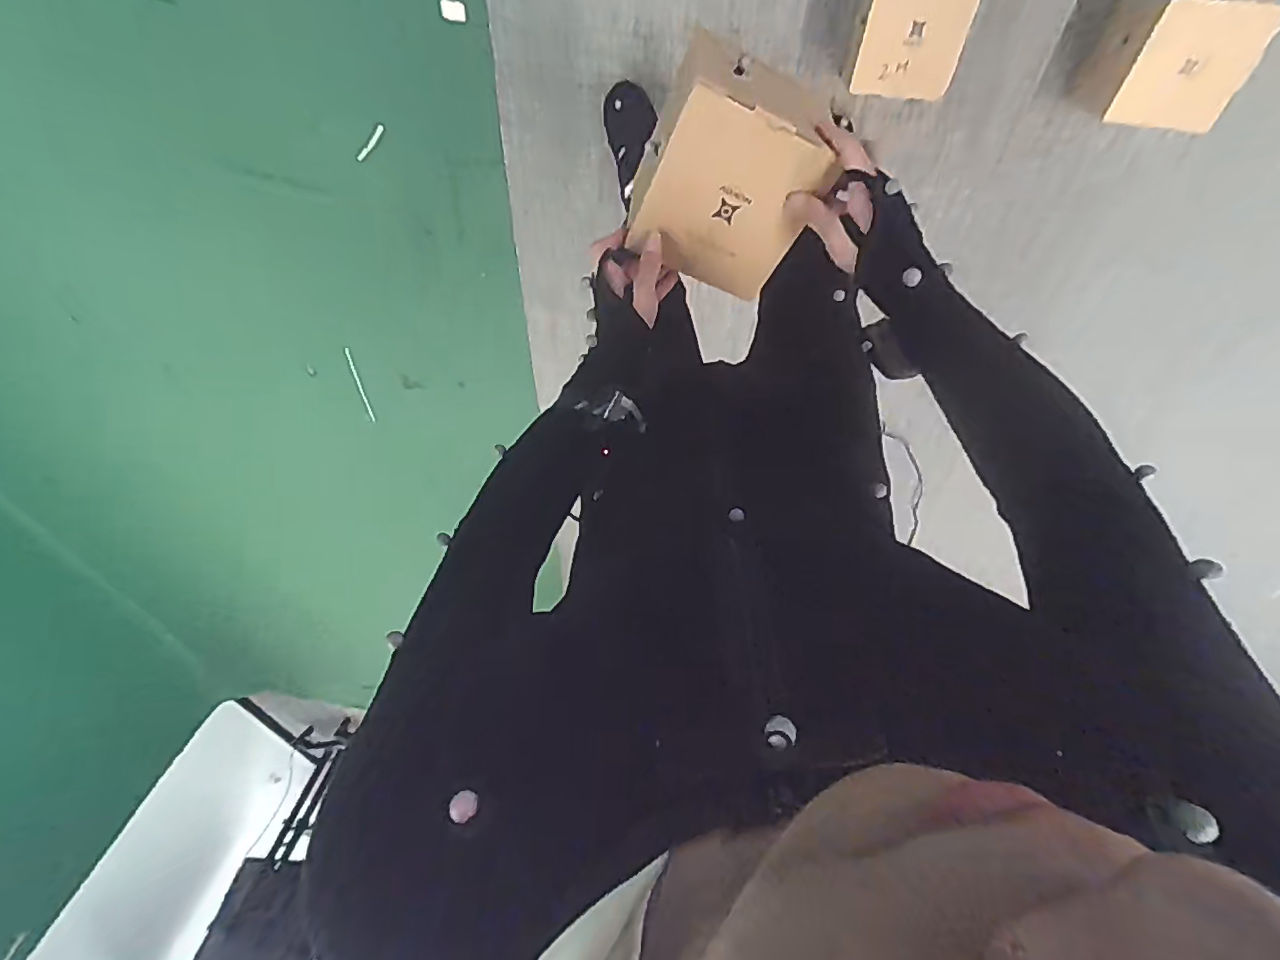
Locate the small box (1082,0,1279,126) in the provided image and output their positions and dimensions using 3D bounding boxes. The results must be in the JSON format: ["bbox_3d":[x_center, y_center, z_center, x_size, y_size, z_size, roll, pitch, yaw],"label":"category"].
[{"bbox_3d":[0.898,-0.711,0.901,0.179,0.176,0.168,9,135,5],"label":"small box"}]

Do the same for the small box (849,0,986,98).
[{"bbox_3d":[0.471,-0.787,0.934,0.168,0.176,0.179,10,135,5],"label":"small box"}]

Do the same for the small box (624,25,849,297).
[{"bbox_3d":[0.093,-0.345,0.591,0.168,0.176,0.179,18,141,-15],"label":"small box"}]
